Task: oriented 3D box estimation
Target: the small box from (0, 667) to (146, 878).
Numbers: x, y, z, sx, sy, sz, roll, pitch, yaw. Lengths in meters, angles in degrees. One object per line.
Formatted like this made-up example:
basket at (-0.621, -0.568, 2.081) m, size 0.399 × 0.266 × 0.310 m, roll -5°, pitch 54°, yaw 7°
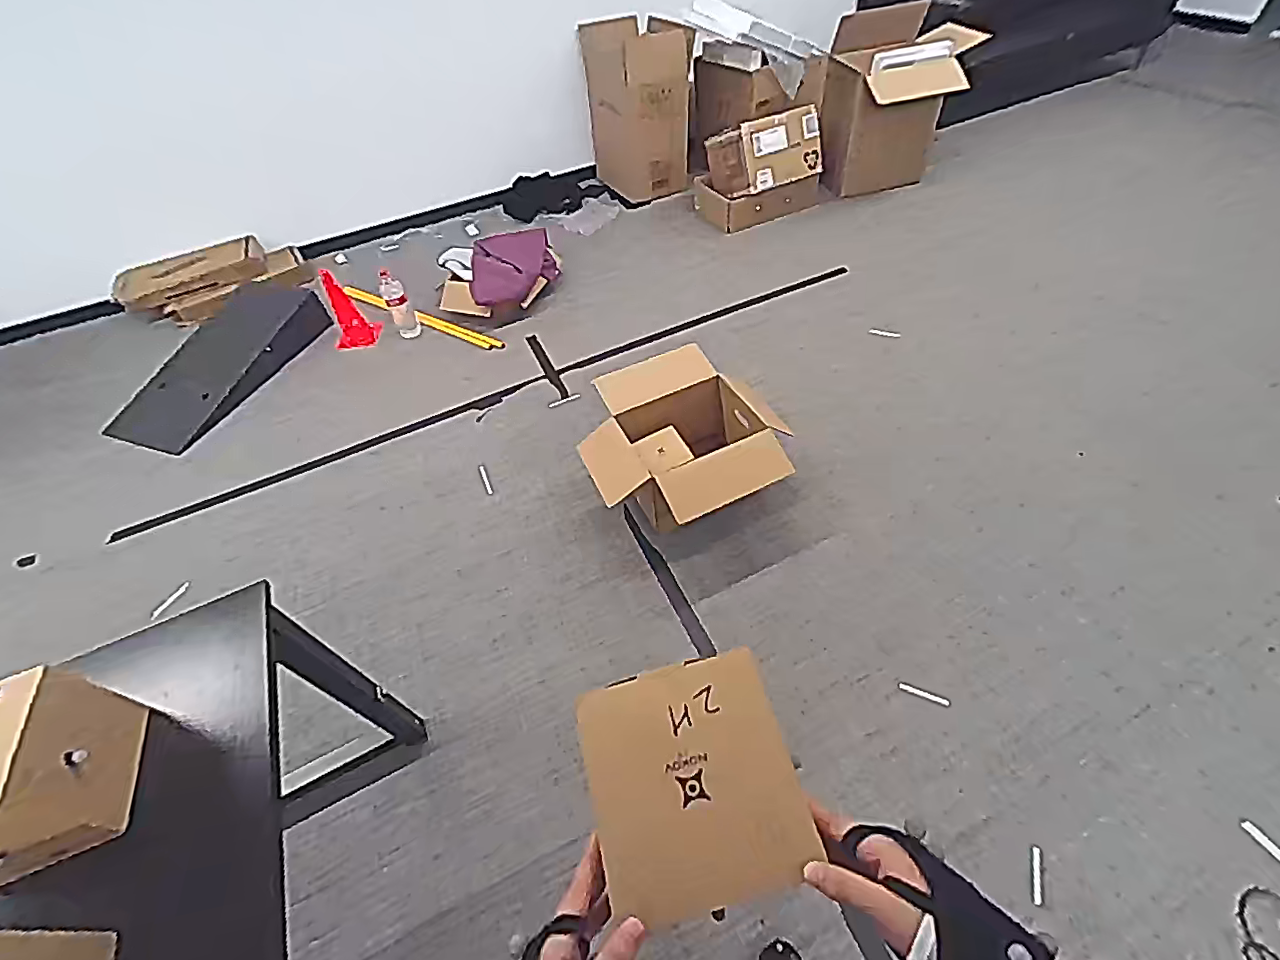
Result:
small box at (-0.772, 0.369, 0.671) m, size 0.168 × 0.176 × 0.179 m, roll -21°, pitch 52°, yaw -11°

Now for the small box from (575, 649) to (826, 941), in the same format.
small box at (0.047, 0.282, 0.502) m, size 0.168 × 0.176 × 0.179 m, roll -14°, pitch 57°, yaw -5°

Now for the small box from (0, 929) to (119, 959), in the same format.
small box at (-0.654, 0.558, 0.498) m, size 0.179 × 0.176 × 0.168 m, roll -23°, pitch 51°, yaw -13°
